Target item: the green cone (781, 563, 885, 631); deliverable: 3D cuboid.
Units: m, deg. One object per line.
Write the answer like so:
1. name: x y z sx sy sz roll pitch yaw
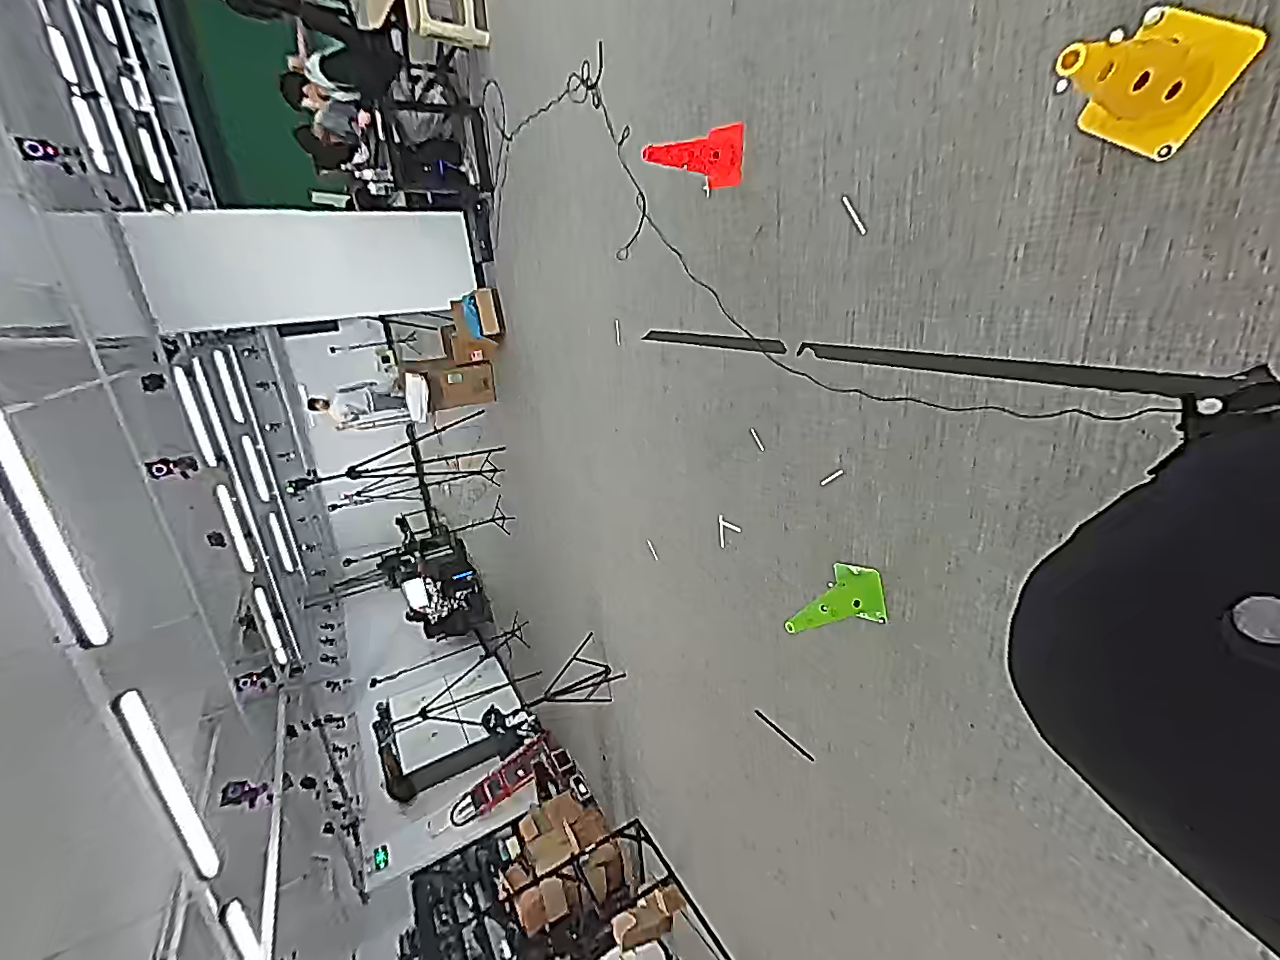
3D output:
1. green cone: 0.644 0.443 1.886 0.202 0.368 0.200 0 103 63

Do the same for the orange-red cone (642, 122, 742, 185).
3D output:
1. orange-red cone: 0.168 -1.176 1.946 0.199 0.360 0.198 35 134 50
